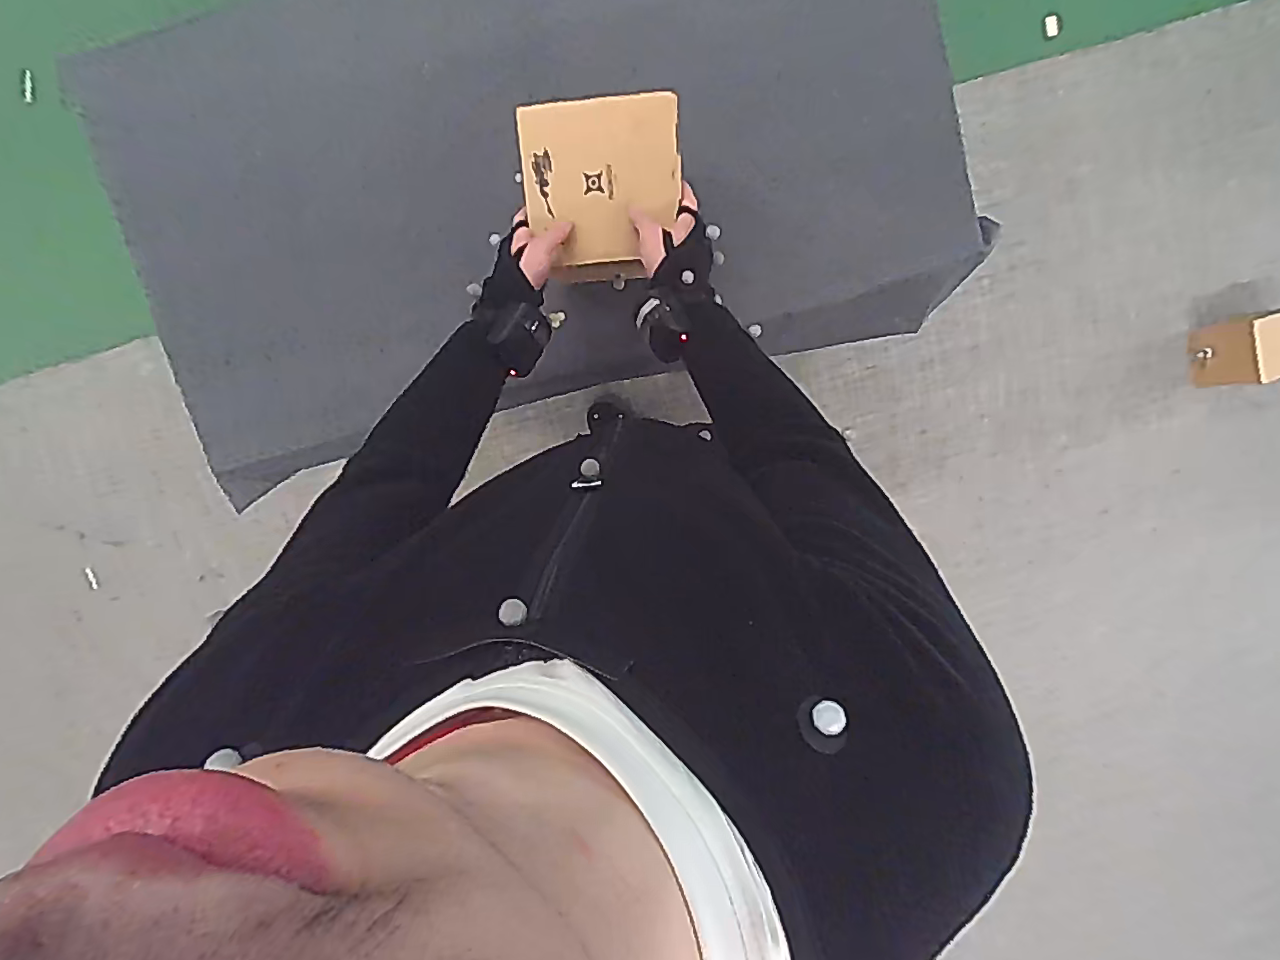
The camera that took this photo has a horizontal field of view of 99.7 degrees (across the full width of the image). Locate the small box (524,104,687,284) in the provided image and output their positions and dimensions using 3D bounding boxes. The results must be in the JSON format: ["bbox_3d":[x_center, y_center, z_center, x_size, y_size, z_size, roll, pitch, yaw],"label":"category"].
[{"bbox_3d":[-0.035,-0.343,0.680,0.179,0.176,0.168,-2,104,3],"label":"small box"}]

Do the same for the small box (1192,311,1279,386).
[{"bbox_3d":[1.619,-0.346,1.413,0.179,0.176,0.168,-13,95,2],"label":"small box"}]
